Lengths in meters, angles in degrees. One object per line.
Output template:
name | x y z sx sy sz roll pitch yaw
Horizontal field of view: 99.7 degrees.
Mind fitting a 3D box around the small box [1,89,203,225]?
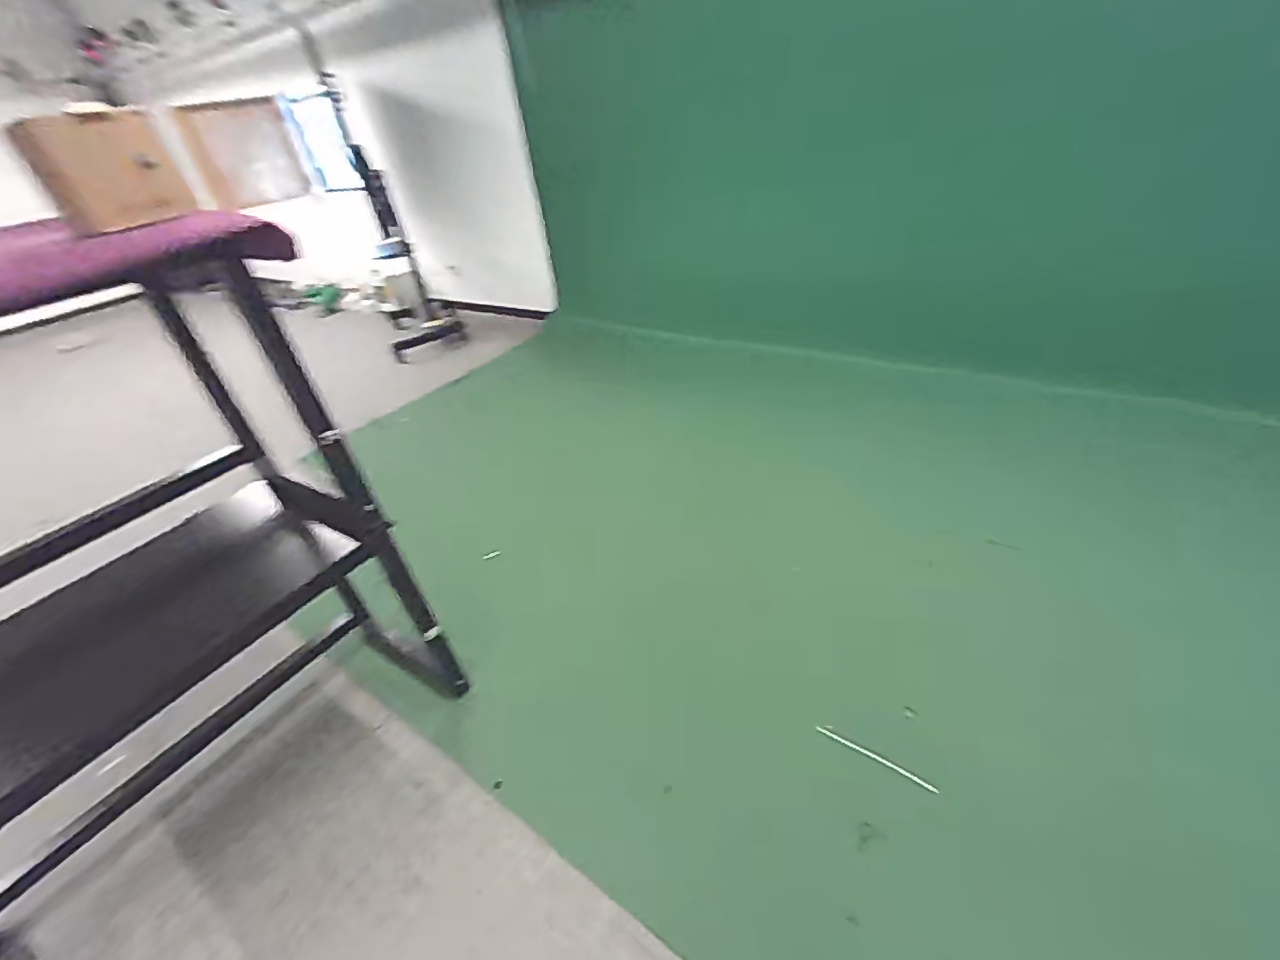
small box | -0.910 -0.549 0.929 0.179 0.176 0.168 14 41 31
